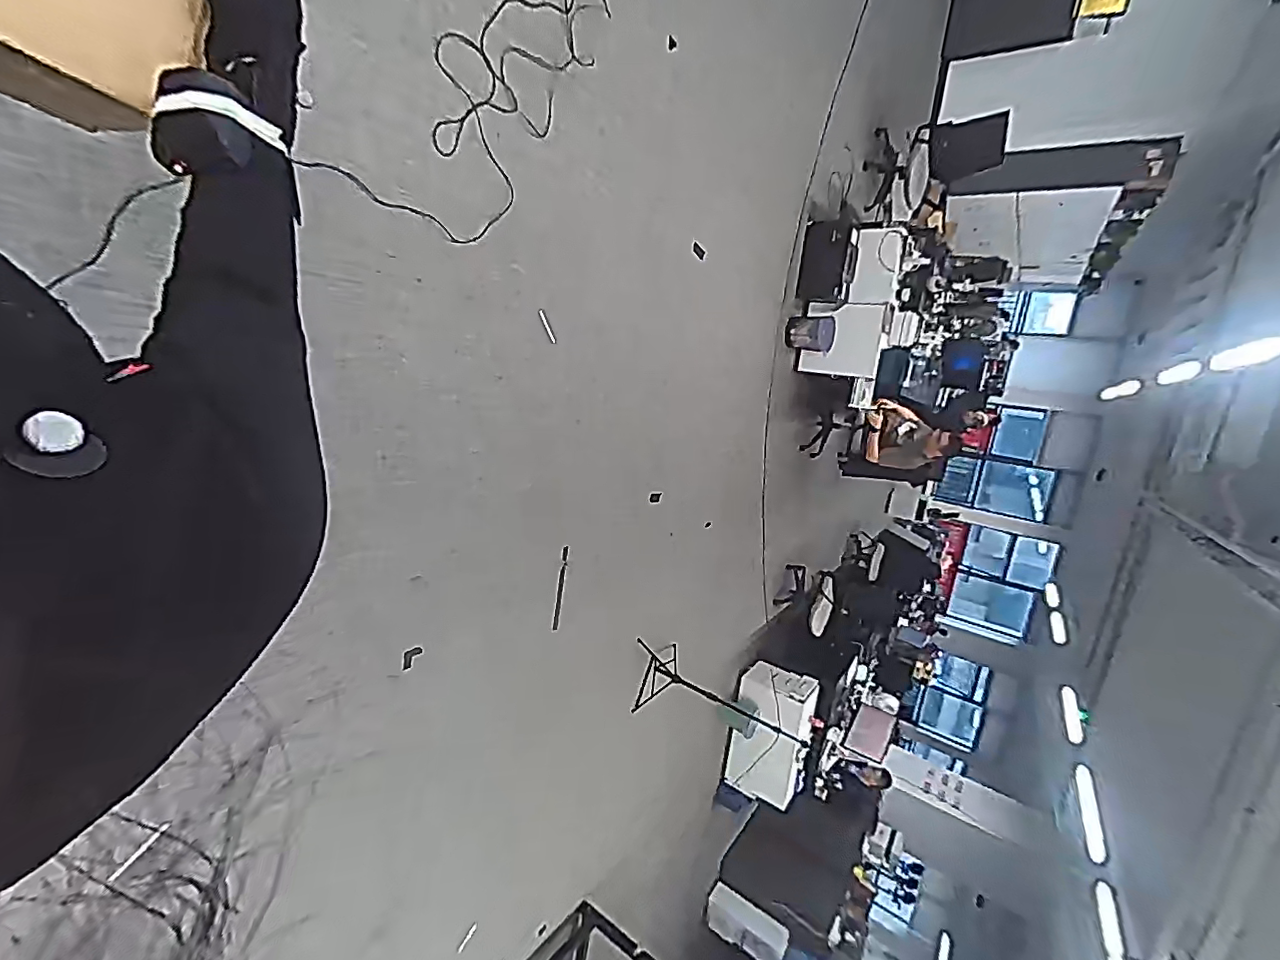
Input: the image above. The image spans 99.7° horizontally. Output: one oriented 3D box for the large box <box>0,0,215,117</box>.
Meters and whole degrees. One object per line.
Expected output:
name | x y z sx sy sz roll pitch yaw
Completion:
large box | -0.546 -0.500 0.334 0.408 0.320 0.320 7 105 -58
